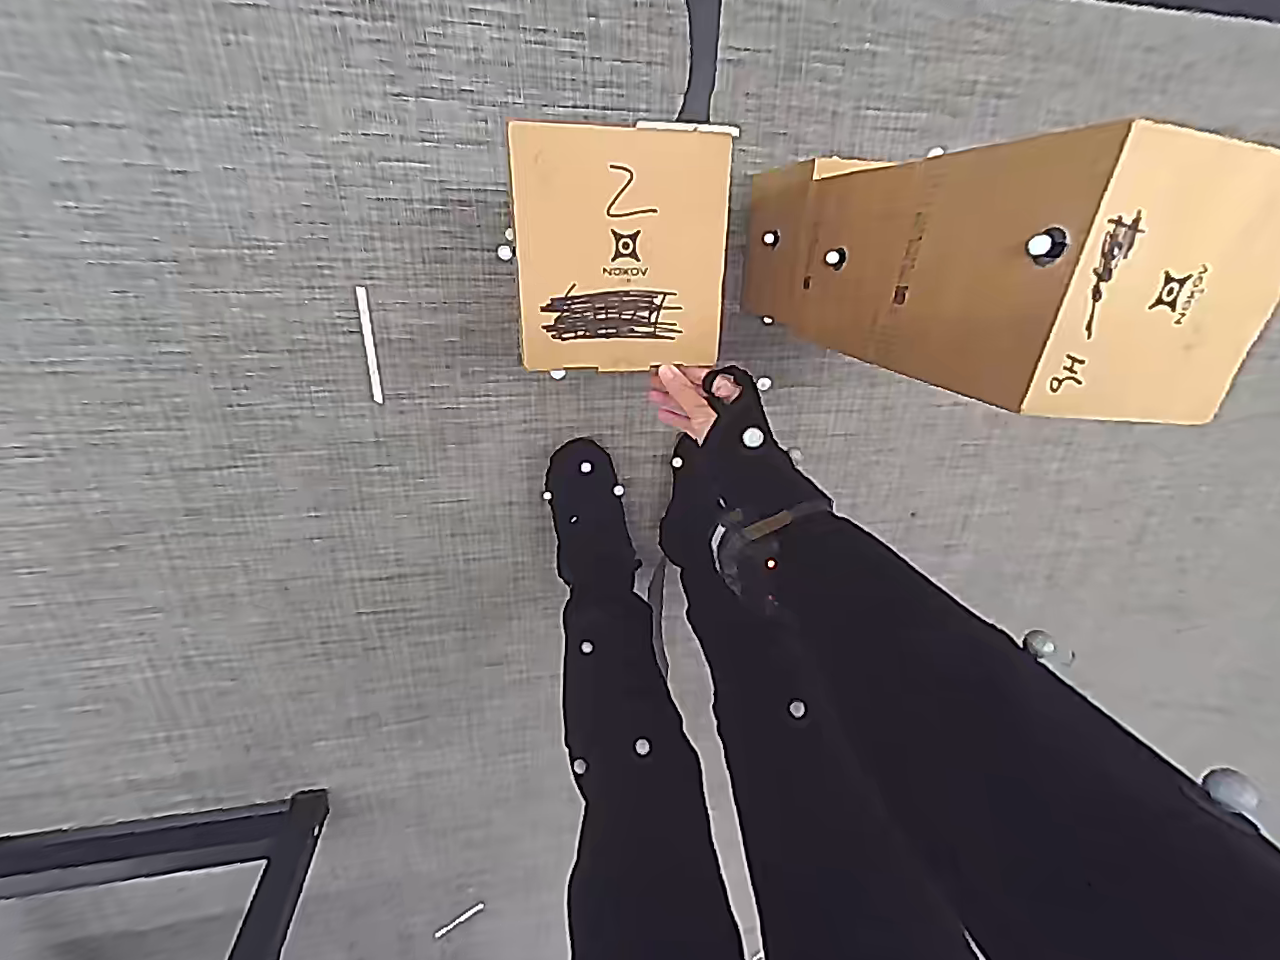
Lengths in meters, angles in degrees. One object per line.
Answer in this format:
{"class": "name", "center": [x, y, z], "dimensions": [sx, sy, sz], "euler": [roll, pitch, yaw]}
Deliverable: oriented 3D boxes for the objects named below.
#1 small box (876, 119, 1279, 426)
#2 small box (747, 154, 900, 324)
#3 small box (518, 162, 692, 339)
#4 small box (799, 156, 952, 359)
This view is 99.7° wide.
{"class": "small box", "center": [0.320, -0.148, 0.406], "dimensions": [0.179, 0.176, 0.168], "euler": [1, 114, -15]}
{"class": "small box", "center": [0.247, -0.300, 0.688], "dimensions": [0.168, 0.176, 0.179], "euler": [-4, 114, -12]}
{"class": "small box", "center": [-0.051, -0.264, 0.637], "dimensions": [0.179, 0.176, 0.168], "euler": [-3, 114, -12]}
{"class": "small box", "center": [0.286, -0.218, 0.550], "dimensions": [0.179, 0.176, 0.168], "euler": [-2, 115, -13]}
